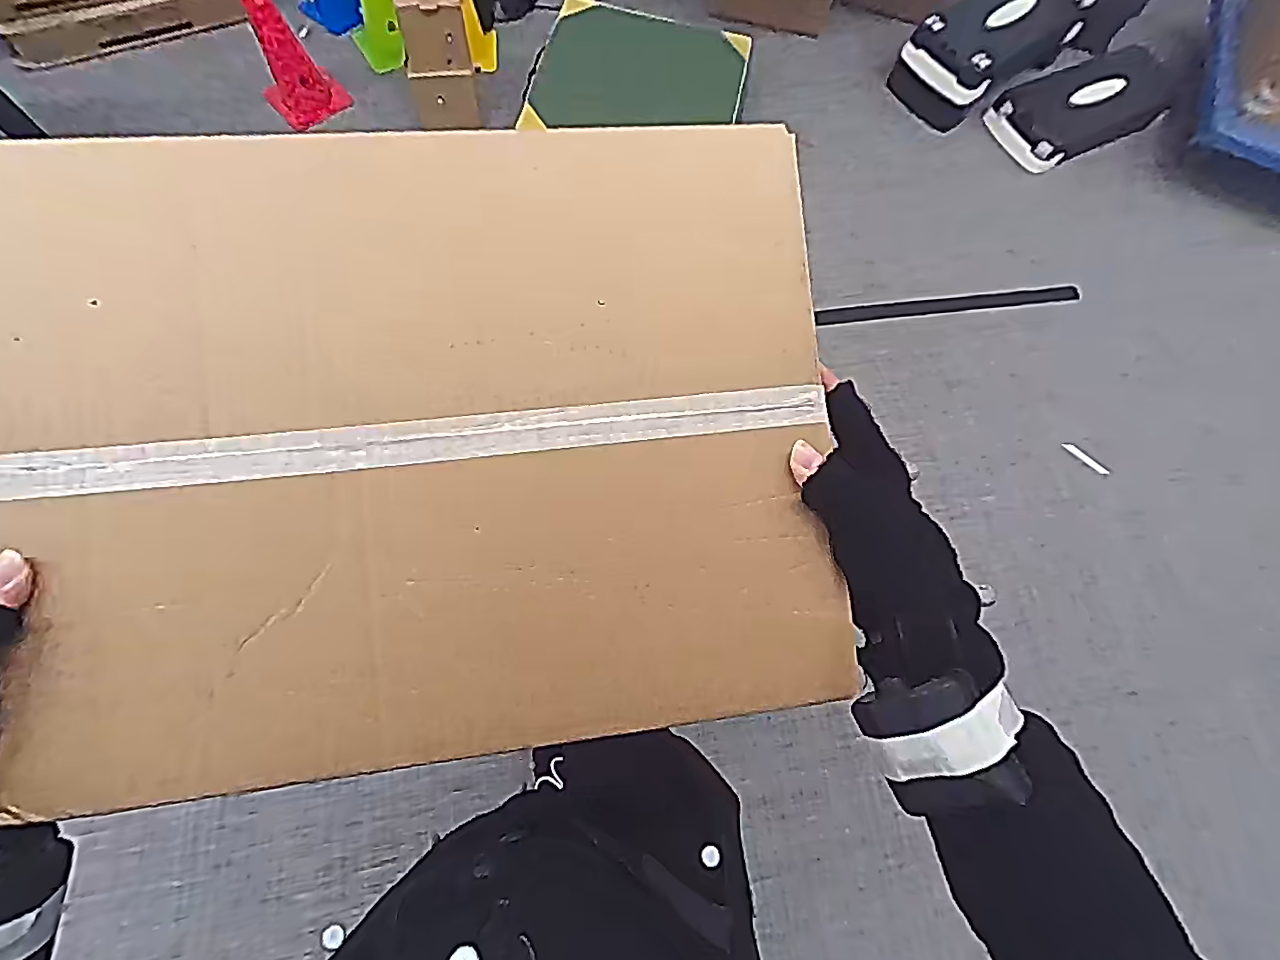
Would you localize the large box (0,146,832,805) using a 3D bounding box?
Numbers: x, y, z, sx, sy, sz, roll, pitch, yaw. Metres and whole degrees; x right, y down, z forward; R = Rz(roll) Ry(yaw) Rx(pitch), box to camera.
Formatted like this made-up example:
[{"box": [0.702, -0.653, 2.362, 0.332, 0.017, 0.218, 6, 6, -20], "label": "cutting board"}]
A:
[{"box": [-0.118, -0.013, 0.428, 0.408, 0.320, 0.320, -5, 87, -7], "label": "large box"}]
